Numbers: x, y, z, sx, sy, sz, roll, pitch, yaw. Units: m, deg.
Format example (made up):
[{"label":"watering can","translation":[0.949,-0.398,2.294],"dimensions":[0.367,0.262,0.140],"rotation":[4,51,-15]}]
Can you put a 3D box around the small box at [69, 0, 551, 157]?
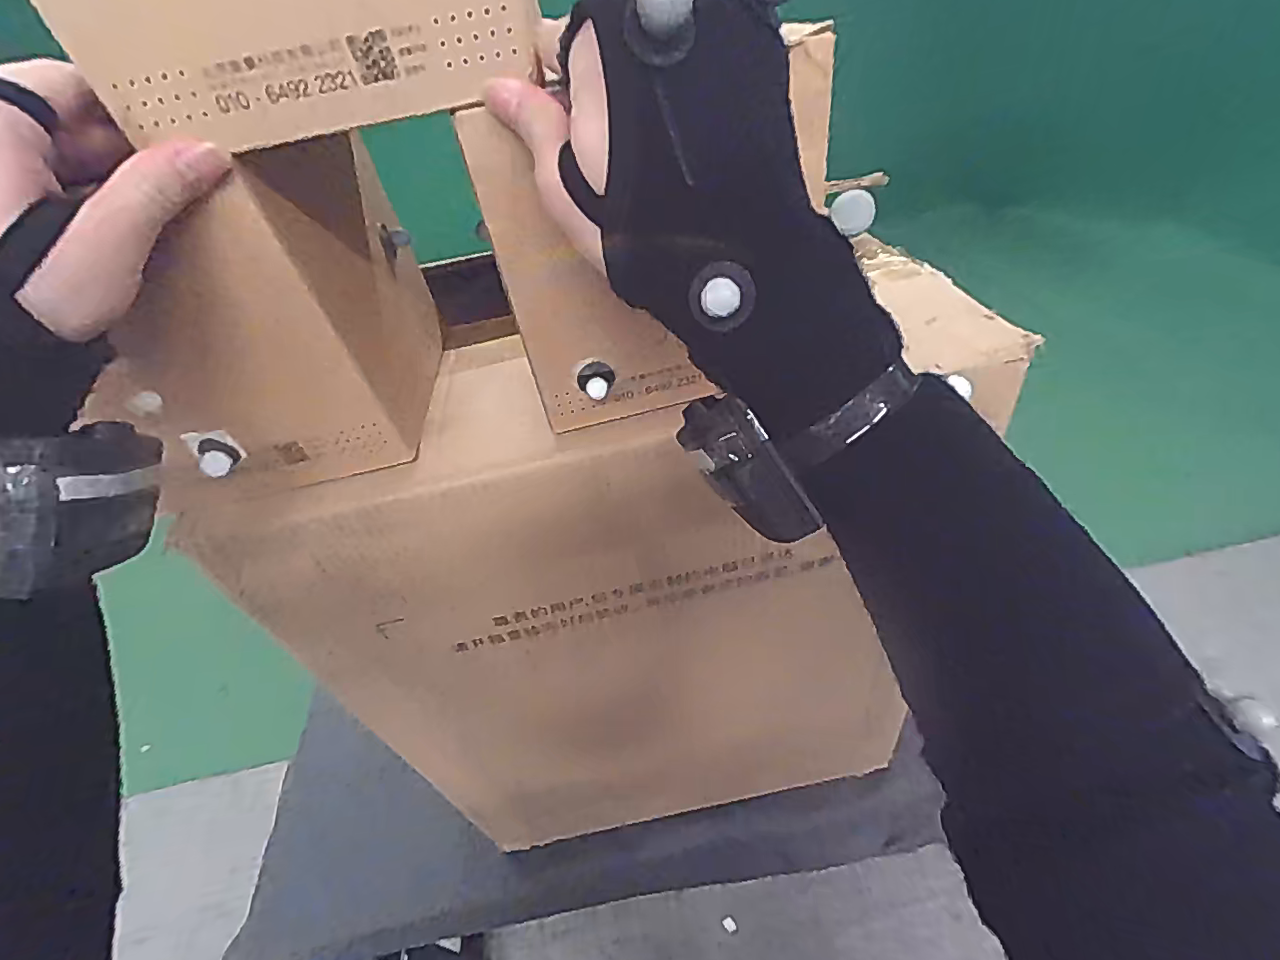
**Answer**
[{"label":"small box","translation":[-0.139,-0.254,0.229],"dimensions":[0.168,0.176,0.179],"rotation":[-12,42,0]}]

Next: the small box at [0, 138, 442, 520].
[{"label":"small box","translation":[-0.238,-0.104,0.336],"dimensions":[0.168,0.176,0.179],"rotation":[-15,43,-1]}]

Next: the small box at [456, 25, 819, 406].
[{"label":"small box","translation":[-0.004,-0.162,0.343],"dimensions":[0.168,0.176,0.179],"rotation":[-14,41,-4]}]
